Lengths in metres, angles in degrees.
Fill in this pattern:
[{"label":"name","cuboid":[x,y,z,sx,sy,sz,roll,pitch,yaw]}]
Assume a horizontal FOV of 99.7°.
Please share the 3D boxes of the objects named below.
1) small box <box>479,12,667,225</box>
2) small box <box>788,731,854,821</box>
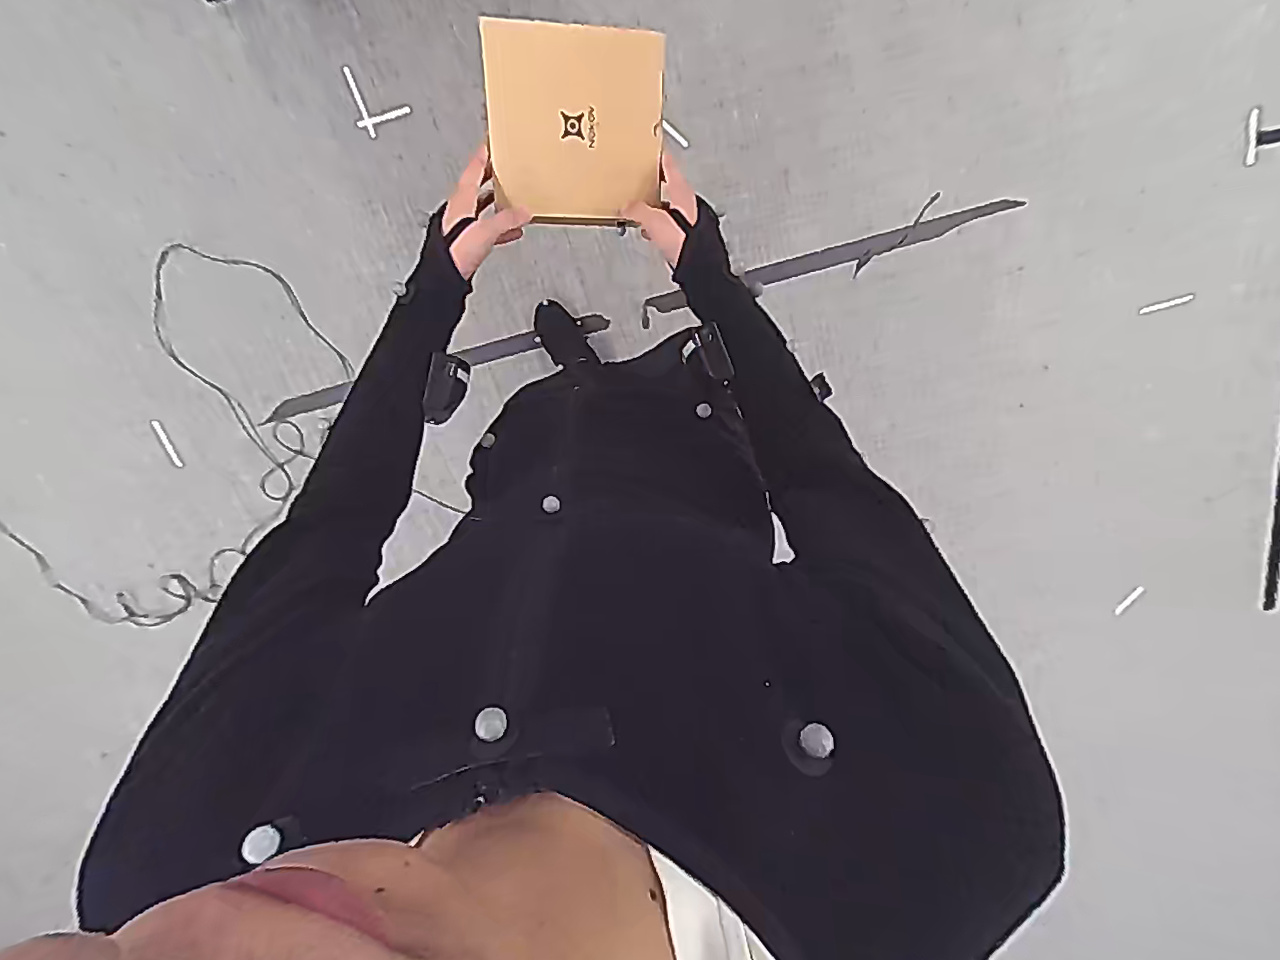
[{"label":"small box","cuboid":[-0.074,-0.381,0.603,0.179,0.176,0.168,-3,113,-9]},{"label":"small box","cuboid":[0.609,0.958,1.763,0.179,0.176,0.168,-21,108,3]}]
